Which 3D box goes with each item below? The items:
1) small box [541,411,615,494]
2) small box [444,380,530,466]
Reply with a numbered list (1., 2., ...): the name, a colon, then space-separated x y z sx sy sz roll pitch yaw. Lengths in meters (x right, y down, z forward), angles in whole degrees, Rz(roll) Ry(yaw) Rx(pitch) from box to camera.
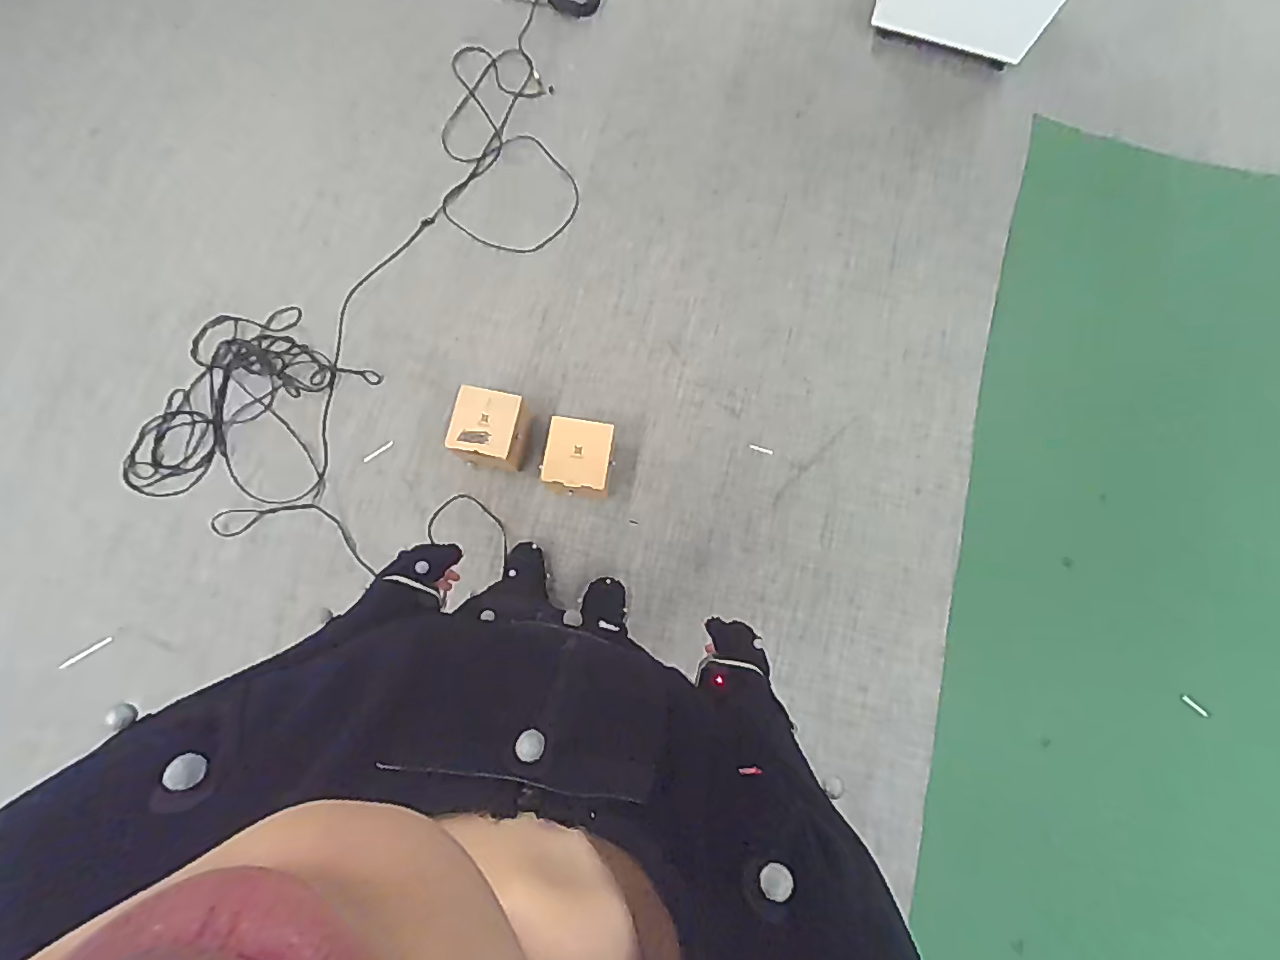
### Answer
1. small box: -0.161 -0.068 1.458 0.168 0.176 0.179 8 81 0
2. small box: -0.405 -0.146 1.462 0.168 0.176 0.179 11 79 0
